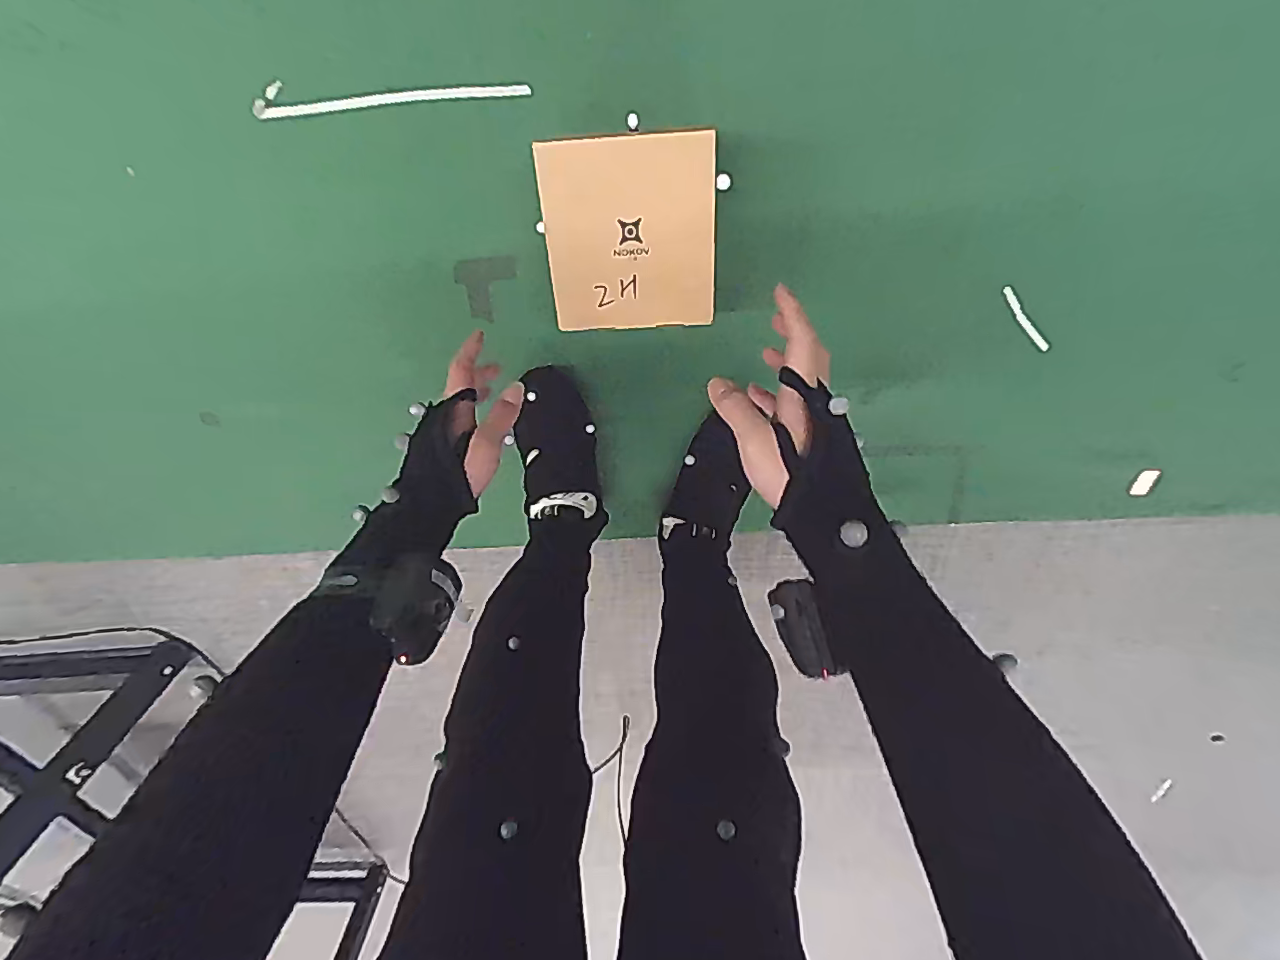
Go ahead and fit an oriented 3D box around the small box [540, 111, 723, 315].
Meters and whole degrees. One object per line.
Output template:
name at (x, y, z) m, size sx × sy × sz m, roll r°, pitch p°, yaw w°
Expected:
small box at (-0.006, -0.293, 0.588) m, size 0.168 × 0.176 × 0.179 m, roll -1°, pitch 125°, yaw 2°
